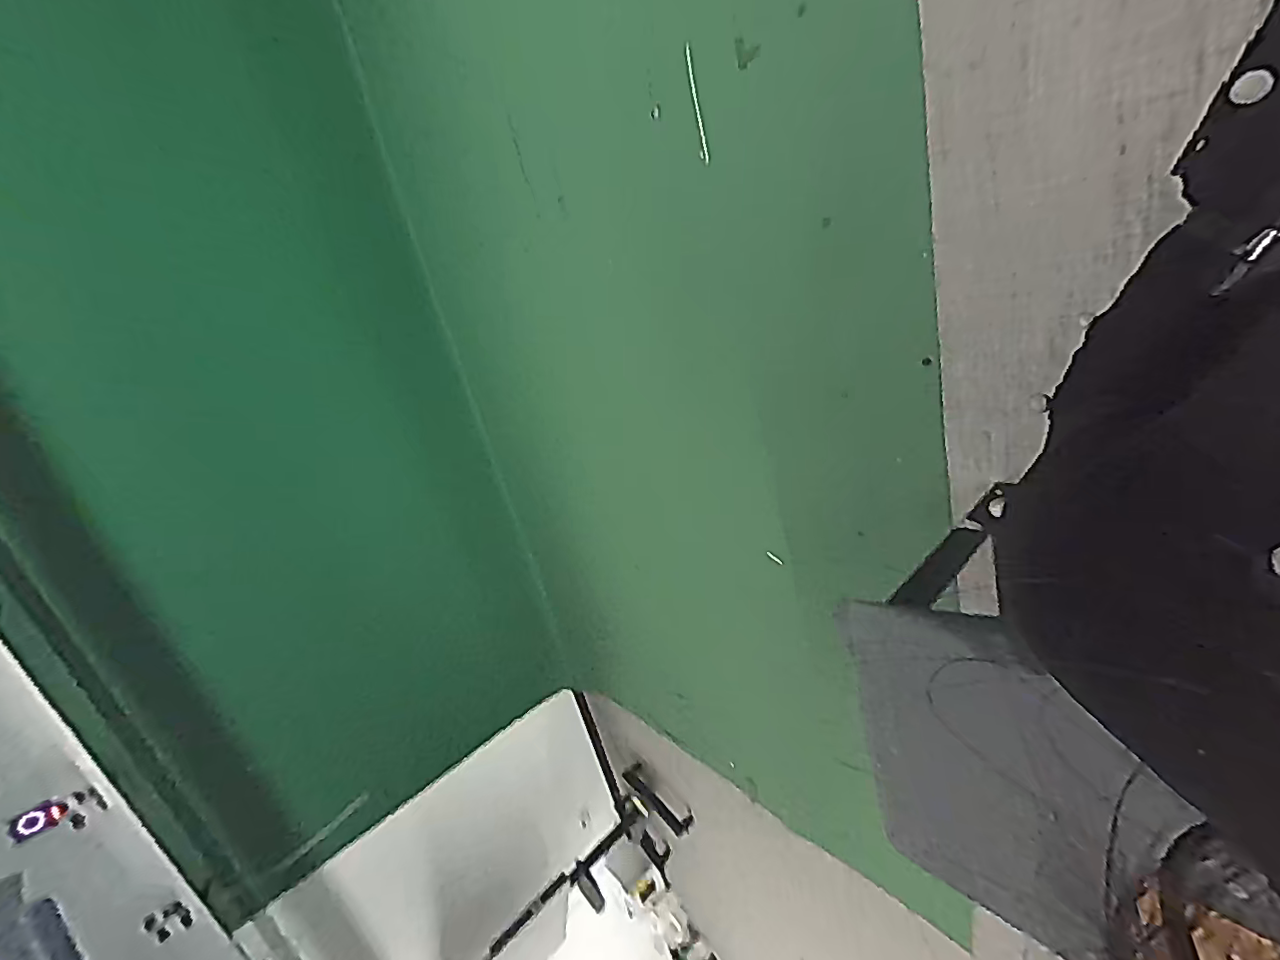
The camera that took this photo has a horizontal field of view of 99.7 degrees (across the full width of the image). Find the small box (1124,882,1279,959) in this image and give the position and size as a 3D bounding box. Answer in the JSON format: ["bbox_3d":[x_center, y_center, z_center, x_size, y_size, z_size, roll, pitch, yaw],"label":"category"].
[{"bbox_3d":[0.786,0.723,0.744,0.168,0.176,0.179,9,119,50],"label":"small box"}]
